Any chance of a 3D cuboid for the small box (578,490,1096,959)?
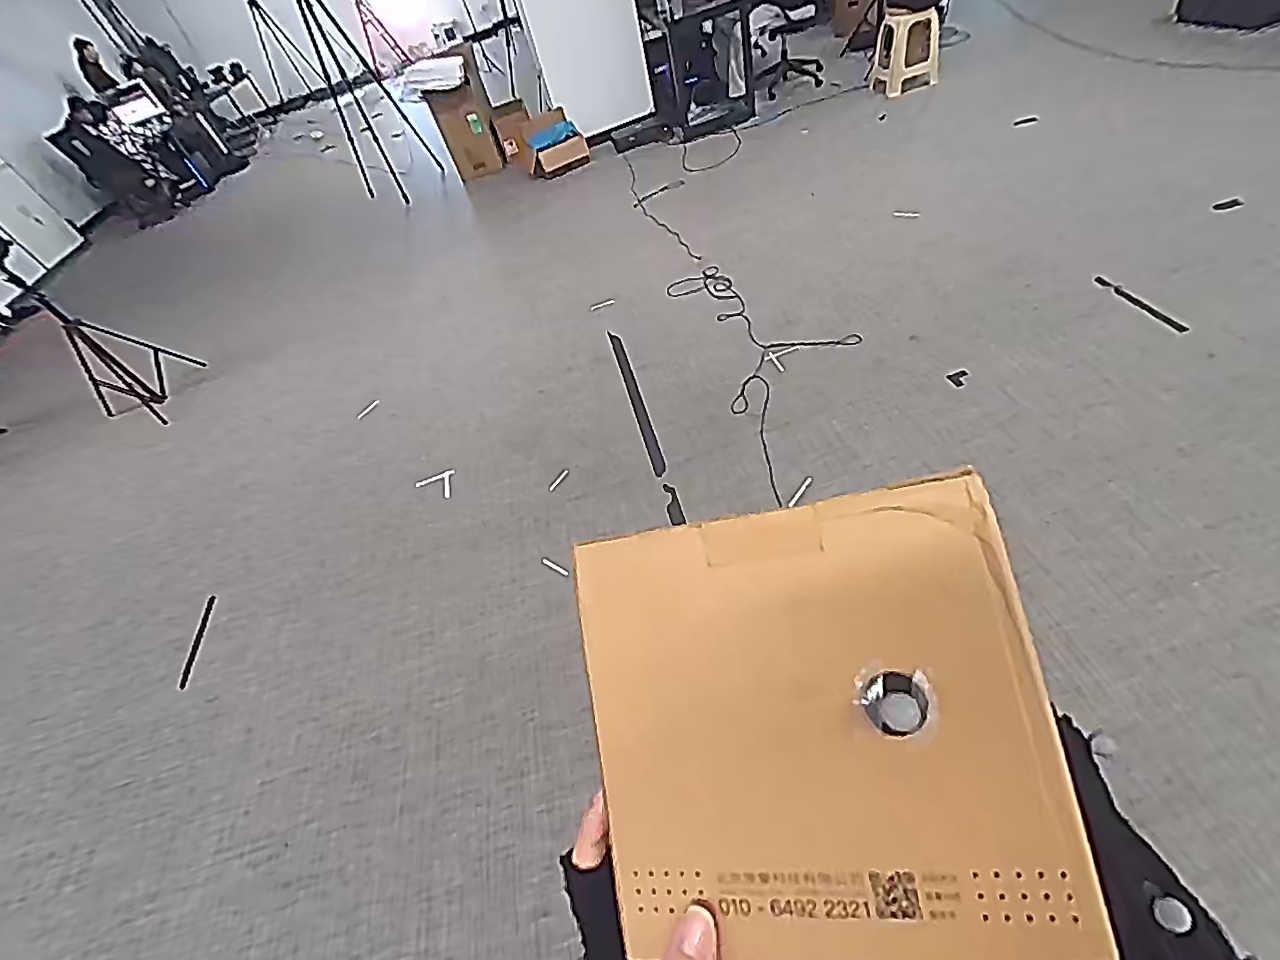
[{"bbox_3d":[0.088,0.110,0.282,0.168,0.179,0.176,-12,80,17],"label":"small box"}]
